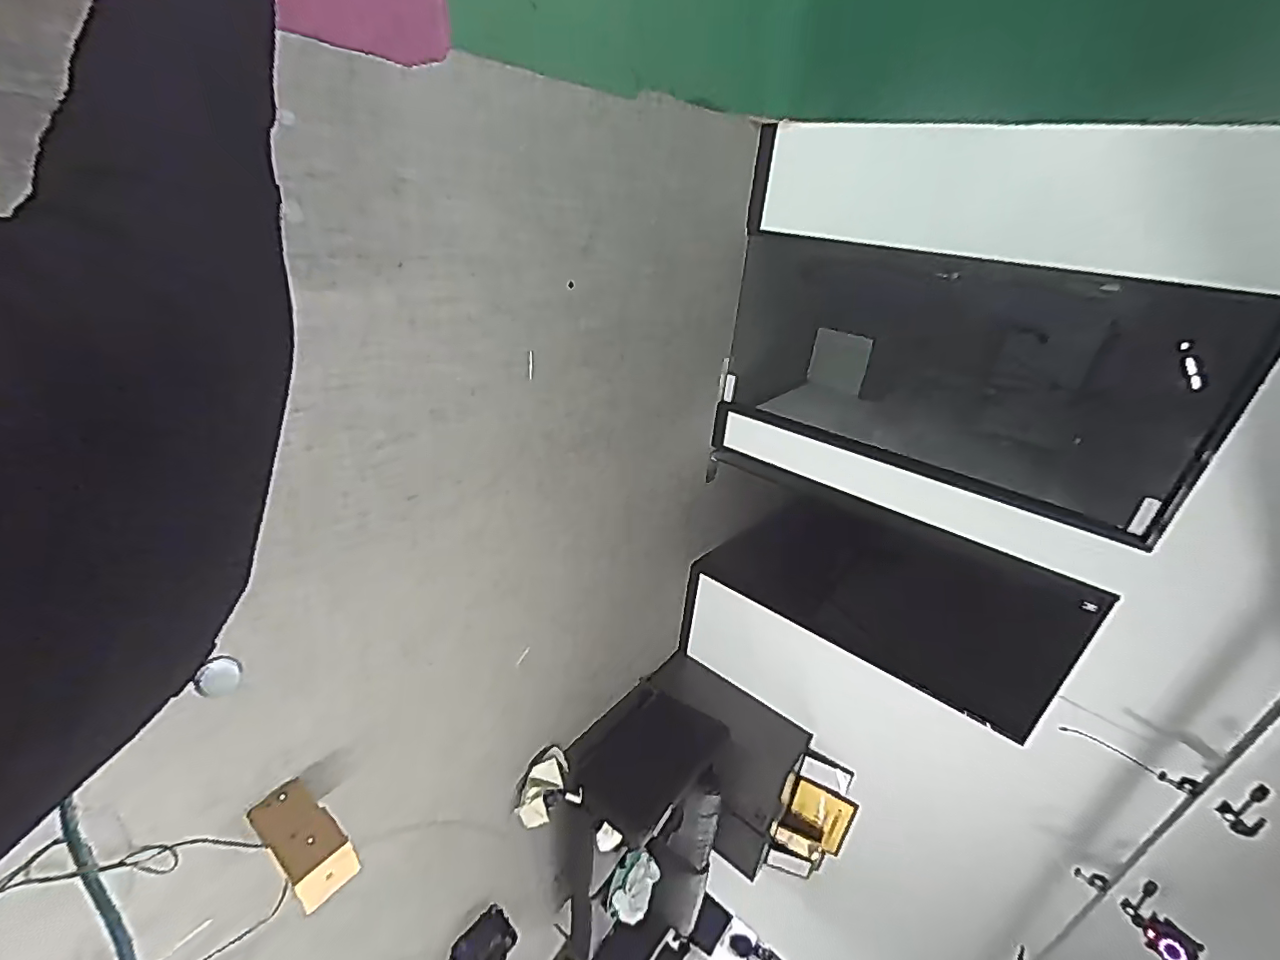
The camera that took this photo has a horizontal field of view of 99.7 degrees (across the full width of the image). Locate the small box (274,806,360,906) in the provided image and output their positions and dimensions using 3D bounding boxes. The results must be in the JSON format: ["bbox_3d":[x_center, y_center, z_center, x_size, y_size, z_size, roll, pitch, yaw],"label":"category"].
[{"bbox_3d":[-1.027,1.186,1.721,0.168,0.176,0.179,-30,134,-43],"label":"small box"}]

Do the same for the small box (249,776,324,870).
[{"bbox_3d":[-1.161,1.134,1.801,0.168,0.176,0.179,-30,134,-44],"label":"small box"}]
